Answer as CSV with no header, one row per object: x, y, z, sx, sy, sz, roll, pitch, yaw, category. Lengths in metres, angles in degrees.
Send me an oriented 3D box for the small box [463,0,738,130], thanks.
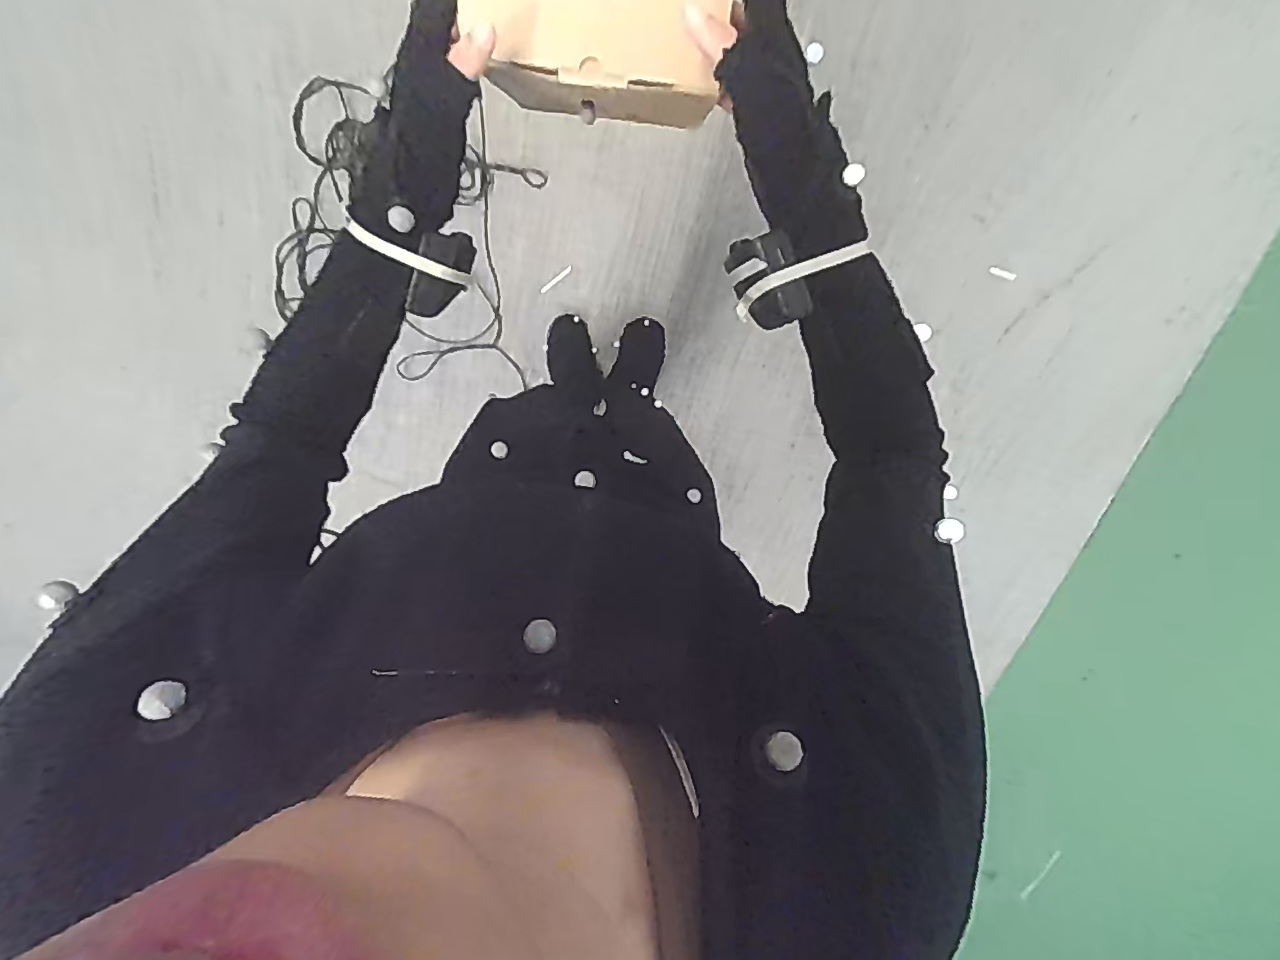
-0.018,-0.363,0.372,0.168,0.176,0.179,6,117,-2,small box
